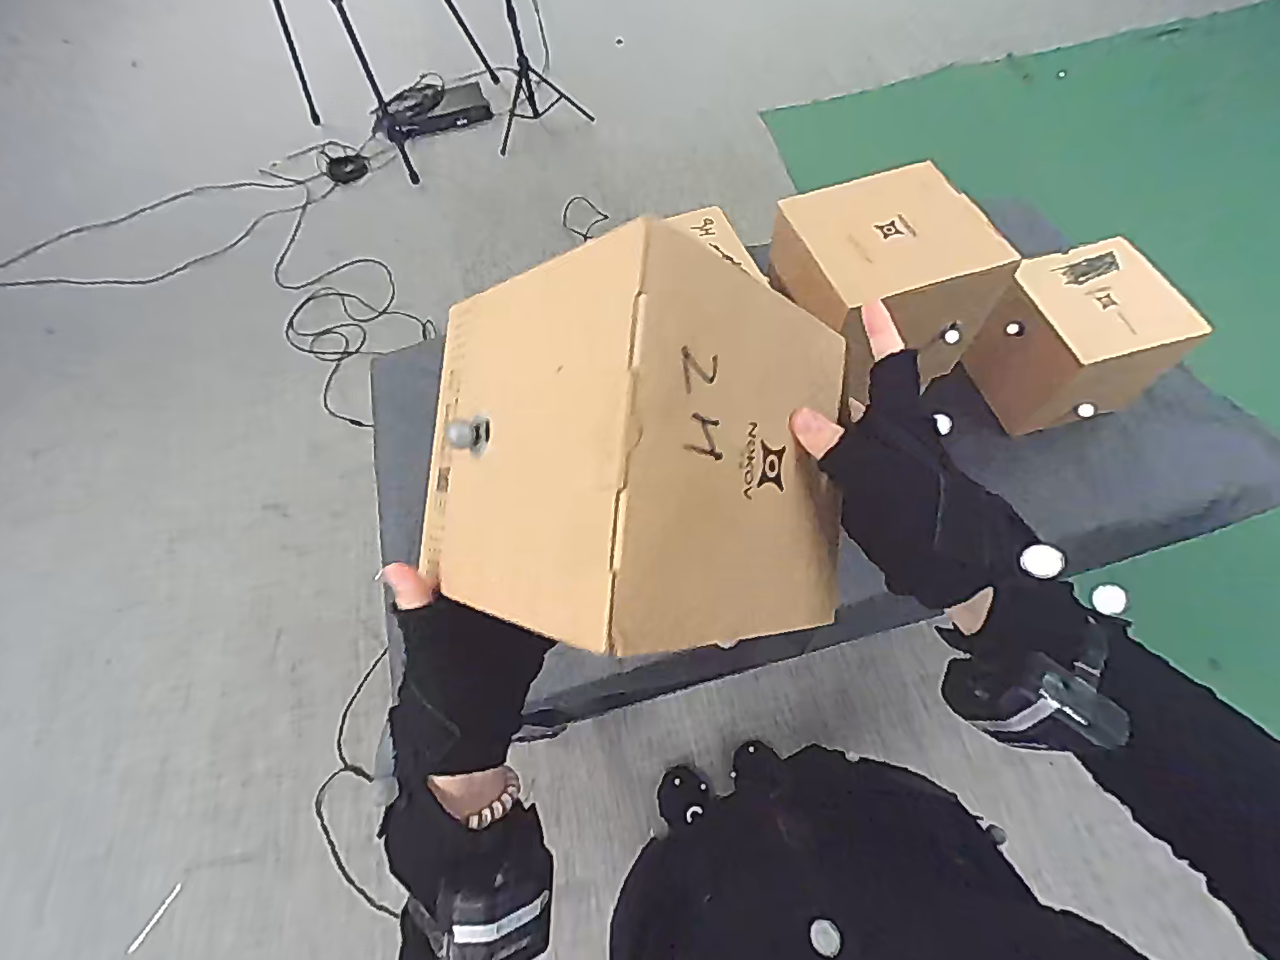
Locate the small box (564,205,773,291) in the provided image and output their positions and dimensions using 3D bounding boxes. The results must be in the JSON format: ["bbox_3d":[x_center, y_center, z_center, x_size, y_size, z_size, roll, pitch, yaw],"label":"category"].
[{"bbox_3d":[0.035,-0.158,0.598,0.179,0.176,0.168,-20,64,-4],"label":"small box"}]

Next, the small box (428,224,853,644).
[{"bbox_3d":[0.001,-0.013,0.318,0.176,0.179,0.168,1,85,47],"label":"small box"}]
